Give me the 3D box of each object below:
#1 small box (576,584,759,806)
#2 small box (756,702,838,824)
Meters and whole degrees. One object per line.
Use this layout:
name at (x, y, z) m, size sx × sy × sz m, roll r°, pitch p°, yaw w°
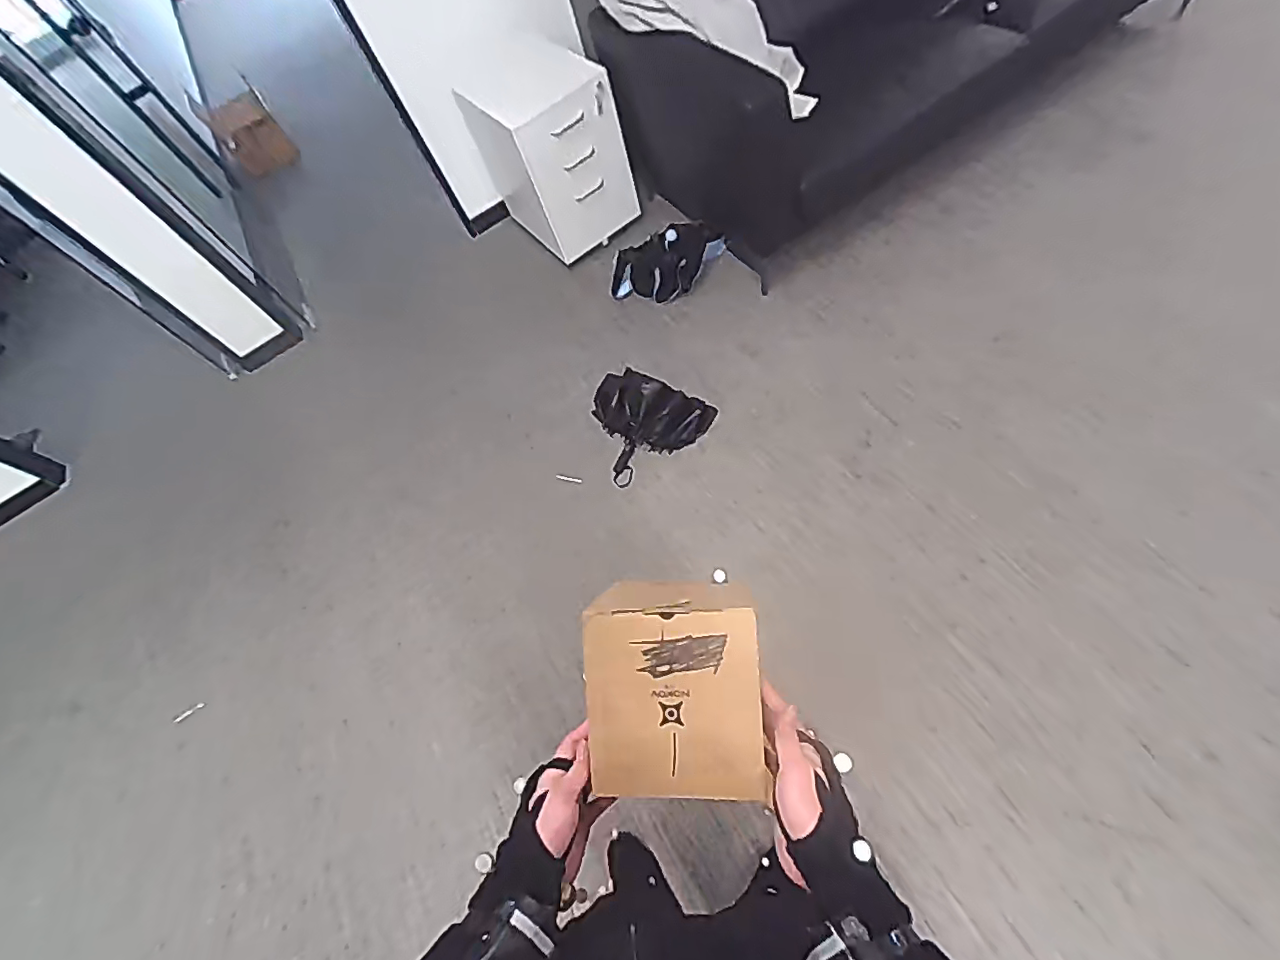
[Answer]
small box at (0.035, 0.209, 0.575) m, size 0.168 × 0.176 × 0.179 m, roll -3°, pitch 90°, yaw 10°
small box at (0.322, 0.636, 1.220) m, size 0.168 × 0.176 × 0.179 m, roll 37°, pitch 76°, yaw 28°
